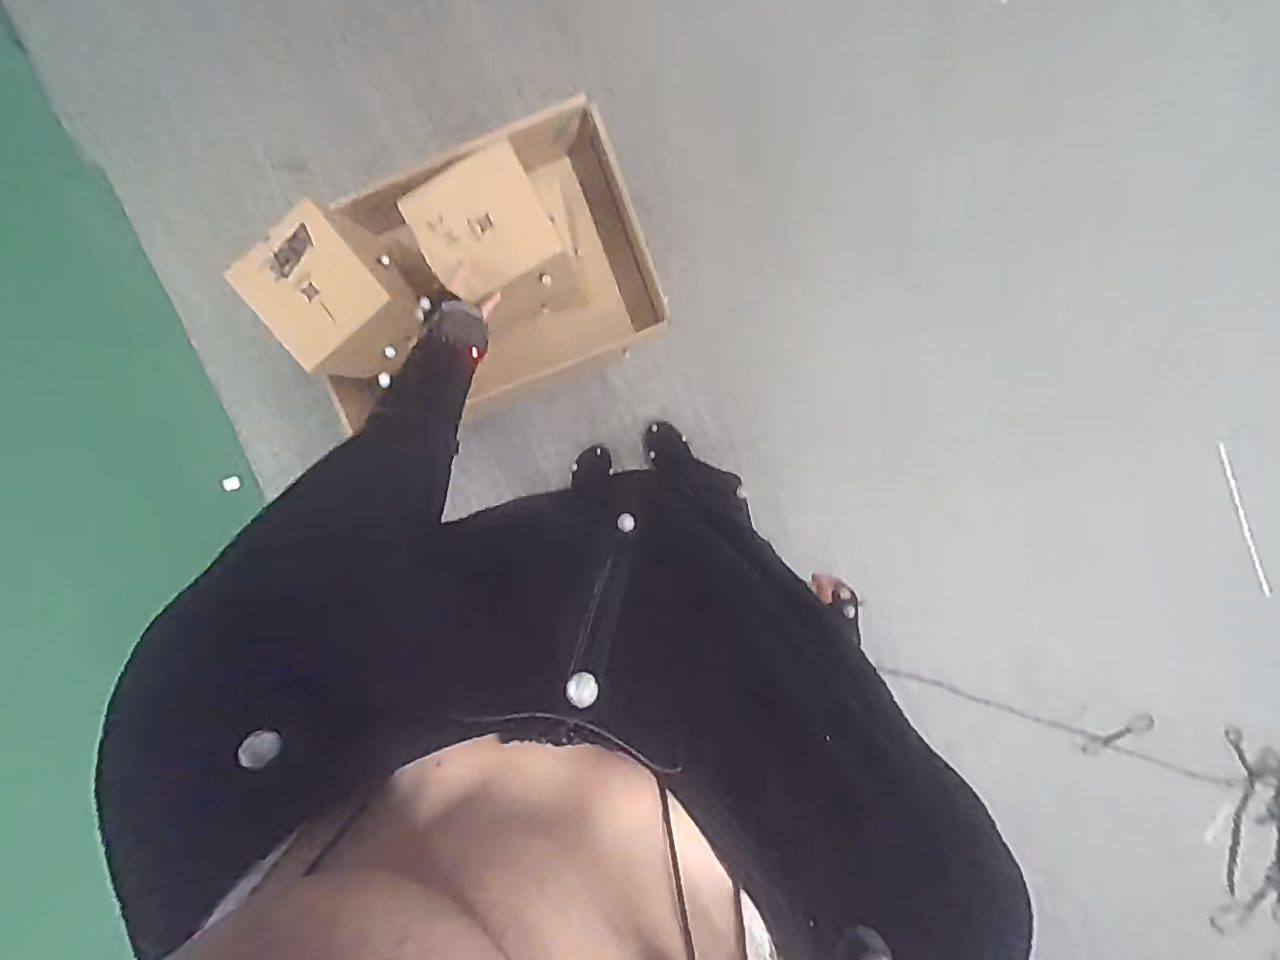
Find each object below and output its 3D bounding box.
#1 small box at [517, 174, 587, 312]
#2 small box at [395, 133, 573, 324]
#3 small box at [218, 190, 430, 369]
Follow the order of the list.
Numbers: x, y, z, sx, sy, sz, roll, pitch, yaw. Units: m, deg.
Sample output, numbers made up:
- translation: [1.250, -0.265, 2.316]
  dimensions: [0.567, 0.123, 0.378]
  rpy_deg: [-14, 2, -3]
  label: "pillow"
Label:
- translation: [-0.196, -0.403, 0.955]
  dimensions: [0.168, 0.176, 0.179]
  rpy_deg: [-10, 98, 3]
  label: "small box"
- translation: [-0.211, -0.353, 0.795]
  dimensions: [0.179, 0.176, 0.168]
  rpy_deg: [-28, 95, 6]
  label: "small box"
- translation: [-0.457, -0.282, 0.811]
  dimensions: [0.168, 0.176, 0.179]
  rpy_deg: [-37, 96, 7]
  label: "small box"
